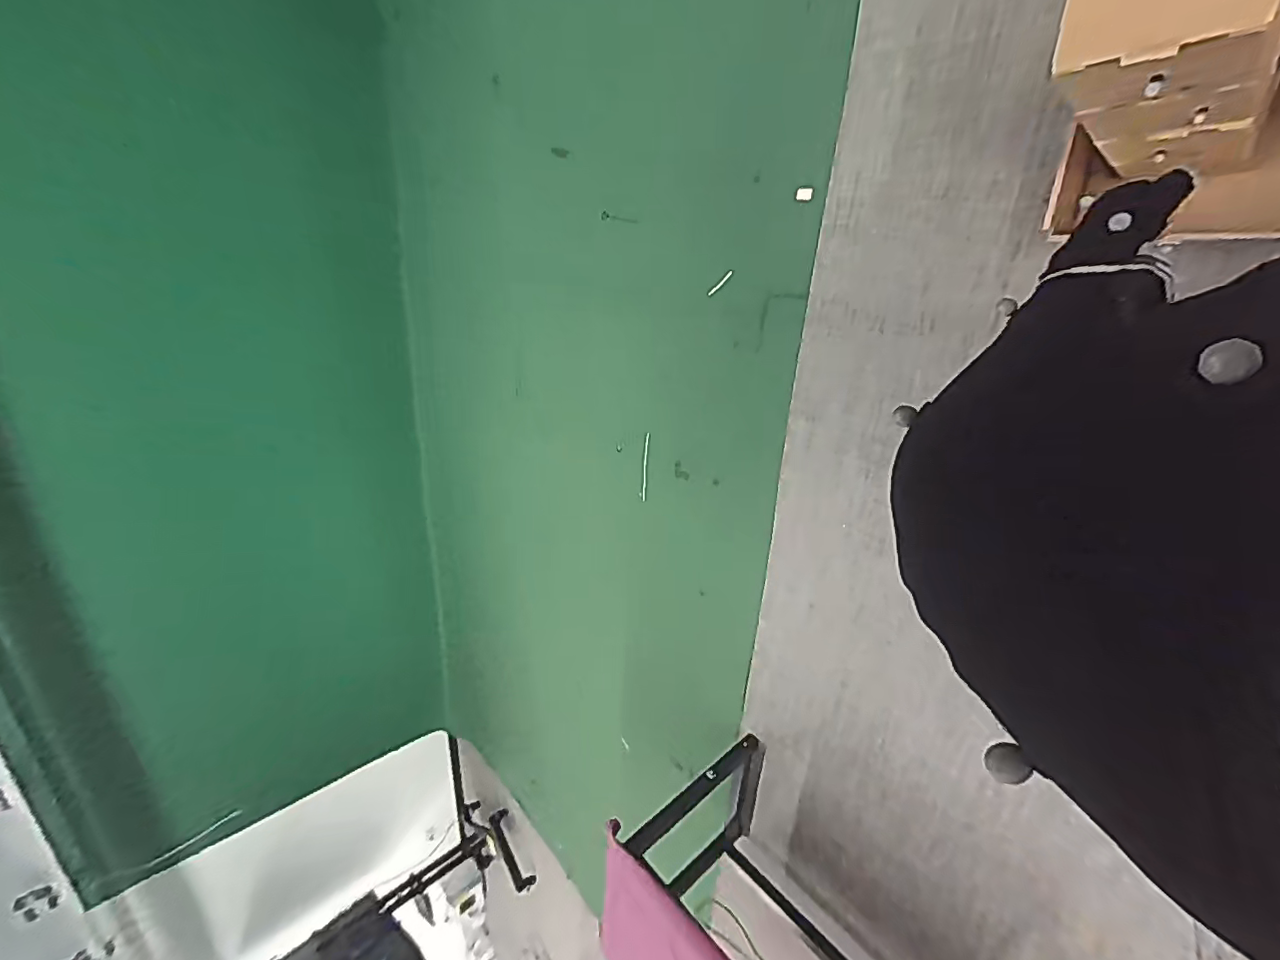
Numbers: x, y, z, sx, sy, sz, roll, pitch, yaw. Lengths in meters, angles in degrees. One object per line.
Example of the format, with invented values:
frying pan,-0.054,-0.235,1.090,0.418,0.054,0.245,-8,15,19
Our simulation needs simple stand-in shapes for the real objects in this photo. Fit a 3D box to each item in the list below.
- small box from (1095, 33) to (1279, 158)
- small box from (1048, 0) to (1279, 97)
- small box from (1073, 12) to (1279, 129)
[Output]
small box,0.795,-0.585,0.779,0.168,0.176,0.179,22,118,41
small box,0.559,-0.524,0.560,0.168,0.176,0.179,19,117,41
small box,0.676,-0.556,0.670,0.168,0.176,0.179,19,116,42
